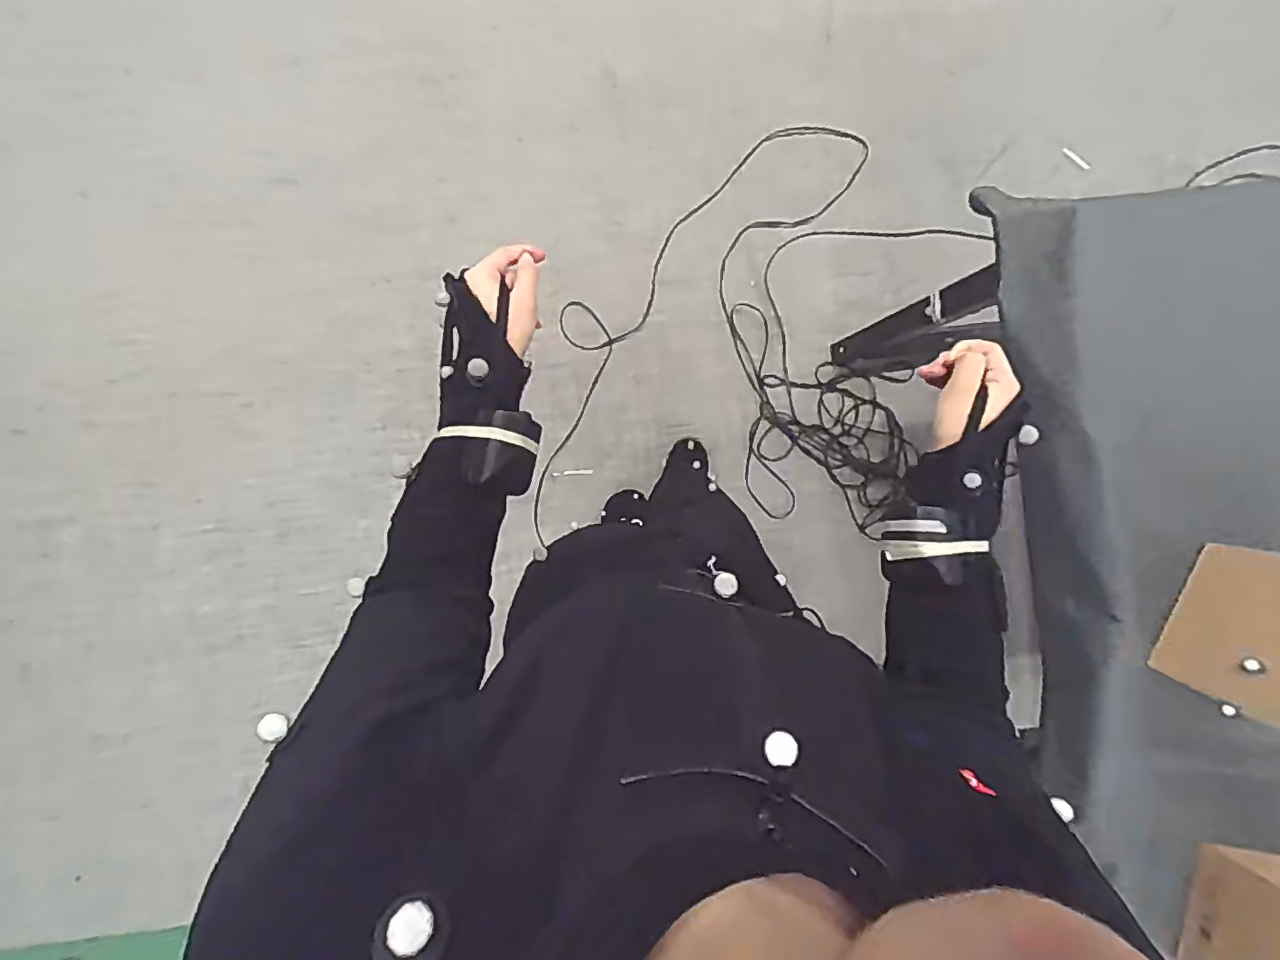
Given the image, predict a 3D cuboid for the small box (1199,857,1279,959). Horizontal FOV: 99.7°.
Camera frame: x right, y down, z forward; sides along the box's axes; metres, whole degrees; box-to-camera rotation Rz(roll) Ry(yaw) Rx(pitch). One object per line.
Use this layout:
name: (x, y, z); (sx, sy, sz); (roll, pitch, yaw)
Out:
small box: (0.806, 0.570, 0.611); (0.179, 0.176, 0.168); (12, 92, -6)
